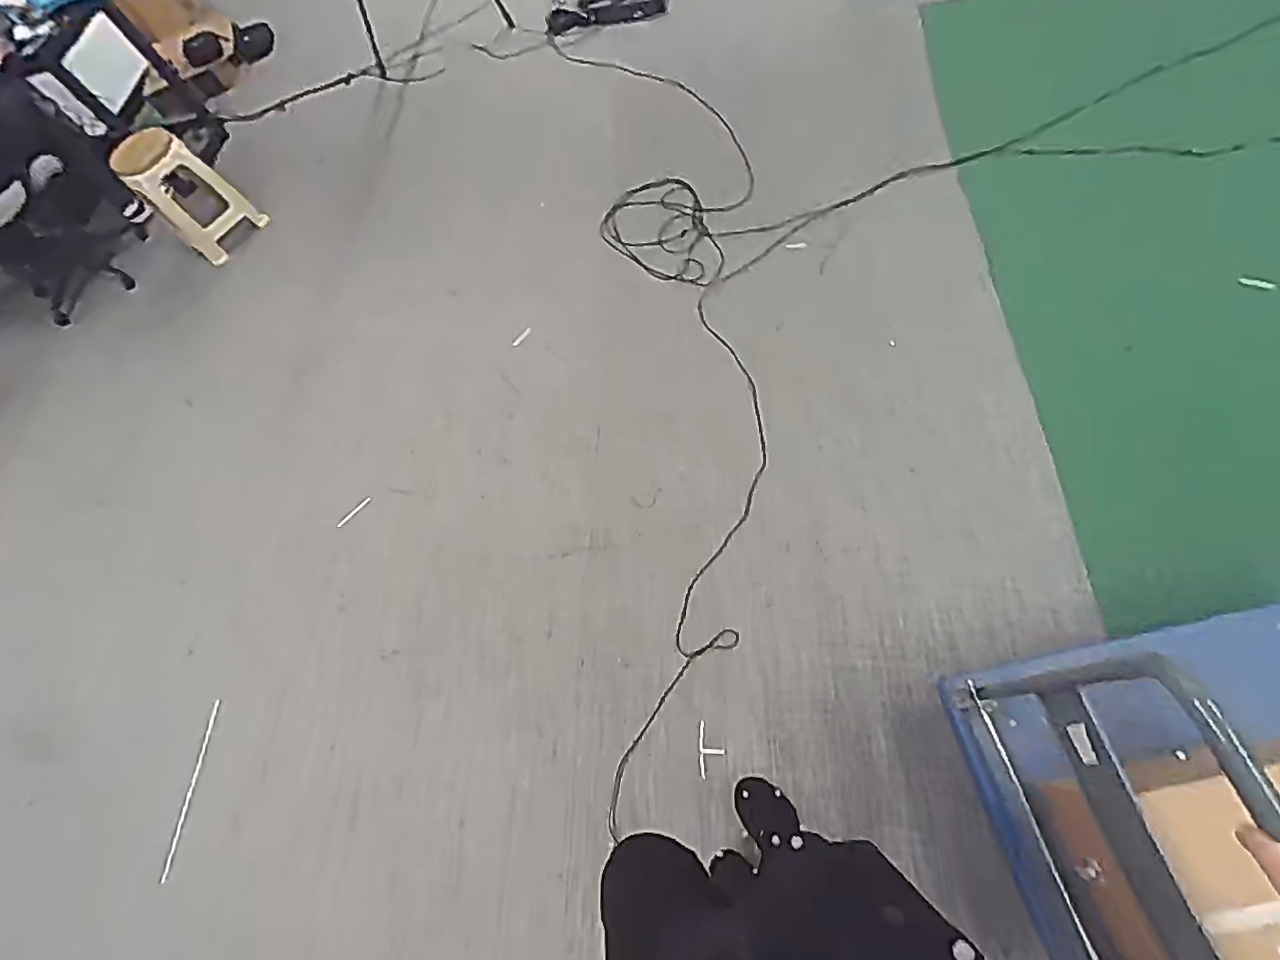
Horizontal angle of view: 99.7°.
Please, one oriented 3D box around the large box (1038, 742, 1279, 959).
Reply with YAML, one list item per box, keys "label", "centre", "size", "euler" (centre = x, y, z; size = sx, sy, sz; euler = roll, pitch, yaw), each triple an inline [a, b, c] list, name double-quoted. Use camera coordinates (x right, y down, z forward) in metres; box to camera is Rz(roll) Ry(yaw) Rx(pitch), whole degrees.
- label: "large box"
  centre: [0.986, 0.633, 0.873]
  size: [0.408, 0.320, 0.320]
  euler: [-15, 63, 4]
